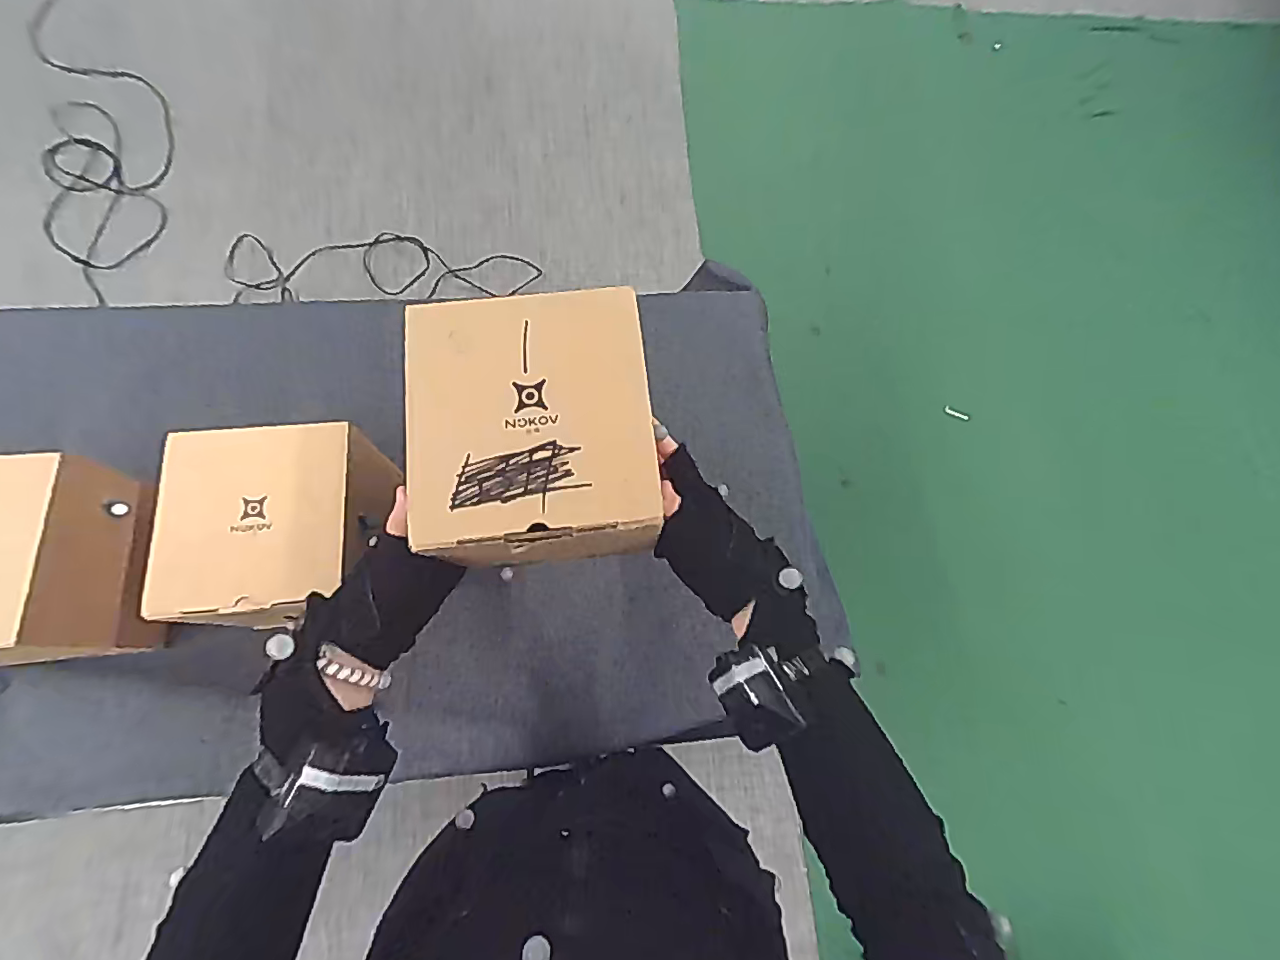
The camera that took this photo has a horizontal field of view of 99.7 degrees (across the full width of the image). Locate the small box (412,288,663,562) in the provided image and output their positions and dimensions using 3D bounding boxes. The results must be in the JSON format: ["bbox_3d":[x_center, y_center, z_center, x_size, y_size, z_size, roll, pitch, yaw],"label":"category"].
[{"bbox_3d":[-0.074,-0.029,0.445,0.168,0.176,0.179,-6,76,-3],"label":"small box"}]

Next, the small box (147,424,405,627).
[{"bbox_3d":[-0.361,0.056,0.575,0.168,0.176,0.179,-5,74,-7],"label":"small box"}]
